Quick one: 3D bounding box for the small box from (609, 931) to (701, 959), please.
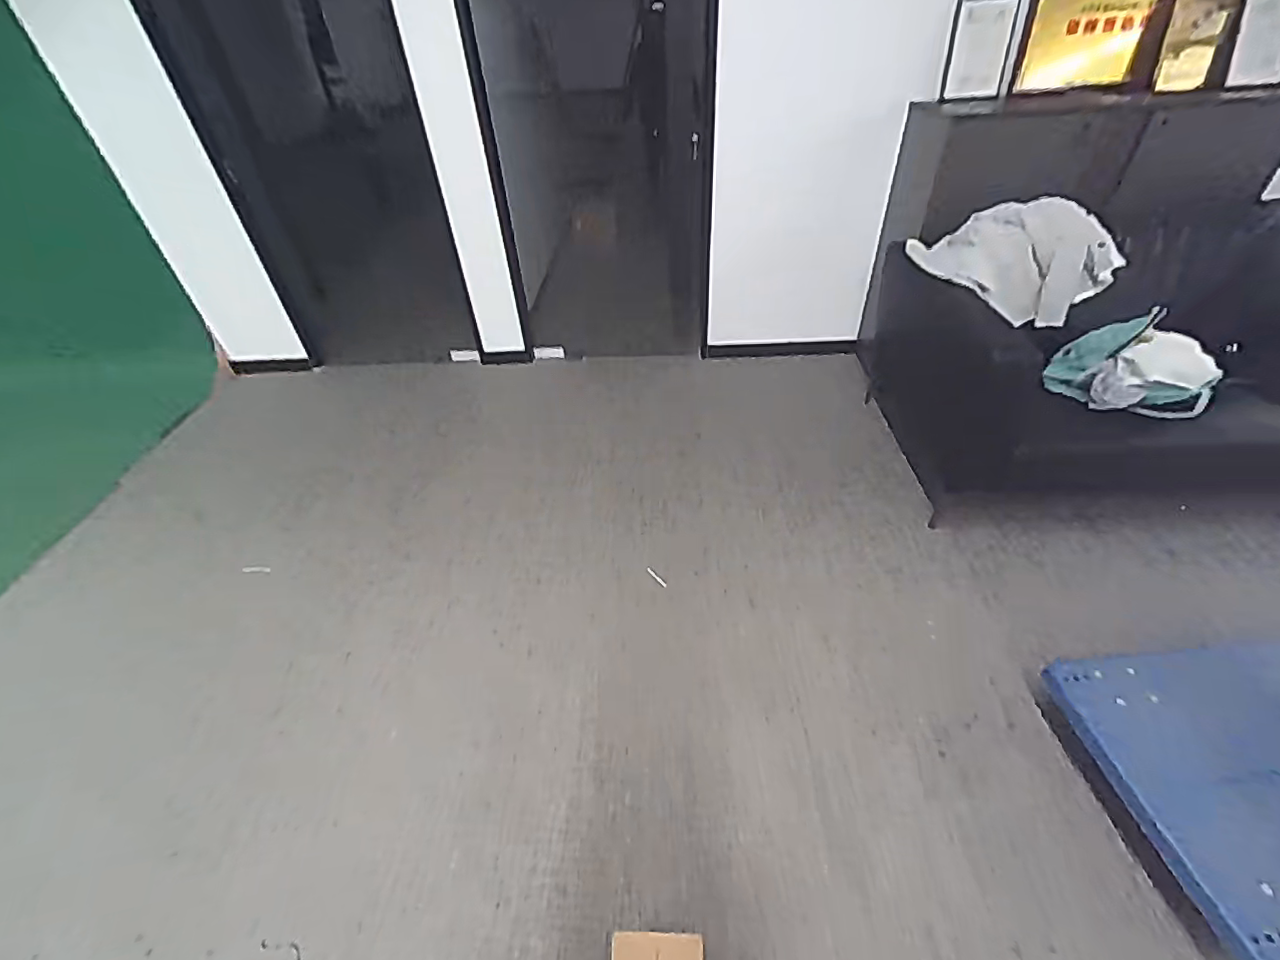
[{"bbox_3d":[0.028,0.943,0.971,0.168,0.176,0.179,0,40,4],"label":"small box"}]
